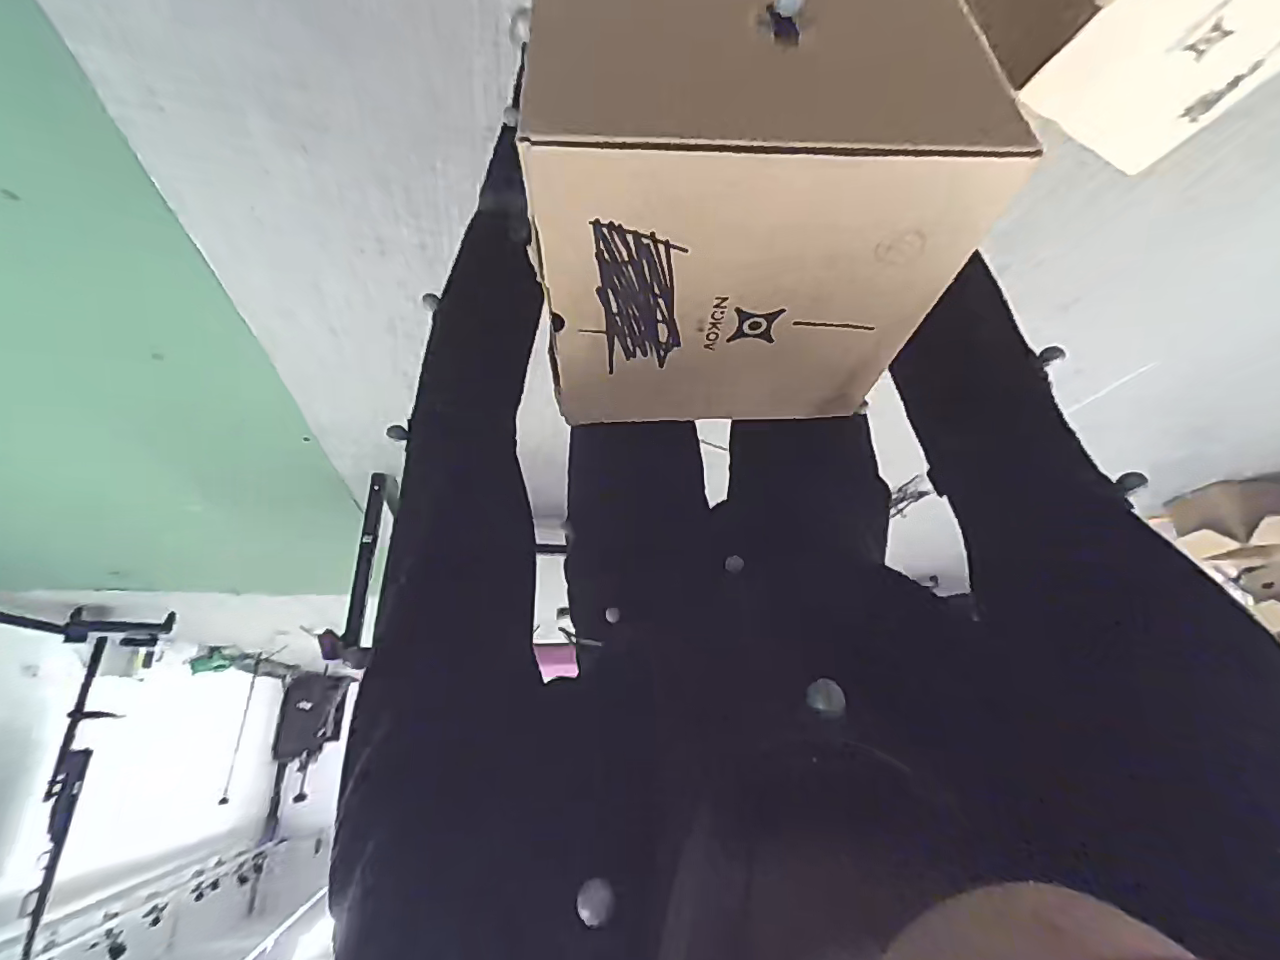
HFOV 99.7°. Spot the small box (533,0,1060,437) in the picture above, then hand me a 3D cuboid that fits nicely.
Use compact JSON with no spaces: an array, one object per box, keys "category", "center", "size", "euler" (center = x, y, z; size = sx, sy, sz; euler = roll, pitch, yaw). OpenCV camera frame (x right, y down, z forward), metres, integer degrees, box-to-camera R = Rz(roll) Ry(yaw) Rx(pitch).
[{"category":"small box","center":[0.046,-0.136,0.278],"size":[0.179,0.176,0.168],"euler":[-1,155,-4]}]

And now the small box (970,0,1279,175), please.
[{"category":"small box","center":[0.390,-0.385,0.410],"size":[0.179,0.176,0.168],"euler":[10,152,-24]}]
